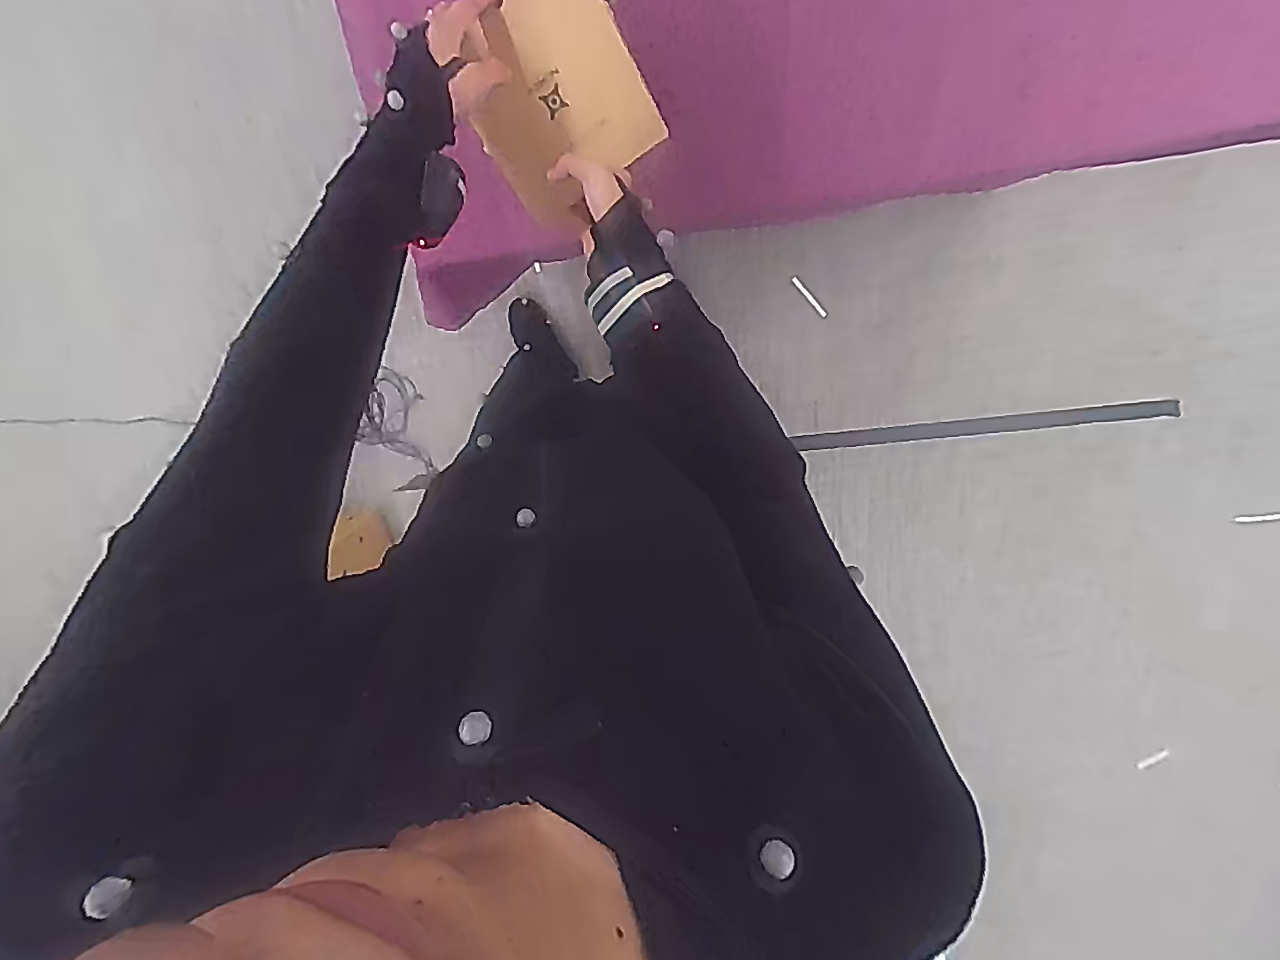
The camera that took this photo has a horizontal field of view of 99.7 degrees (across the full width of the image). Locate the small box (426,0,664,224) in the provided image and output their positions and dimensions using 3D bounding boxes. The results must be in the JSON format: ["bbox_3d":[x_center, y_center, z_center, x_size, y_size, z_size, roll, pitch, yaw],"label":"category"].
[{"bbox_3d":[-0.085,-0.411,0.583,0.168,0.176,0.179,-24,120,19],"label":"small box"}]

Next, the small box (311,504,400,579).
[{"bbox_3d":[-0.911,0.198,1.749,0.168,0.176,0.179,-7,113,7],"label":"small box"}]
